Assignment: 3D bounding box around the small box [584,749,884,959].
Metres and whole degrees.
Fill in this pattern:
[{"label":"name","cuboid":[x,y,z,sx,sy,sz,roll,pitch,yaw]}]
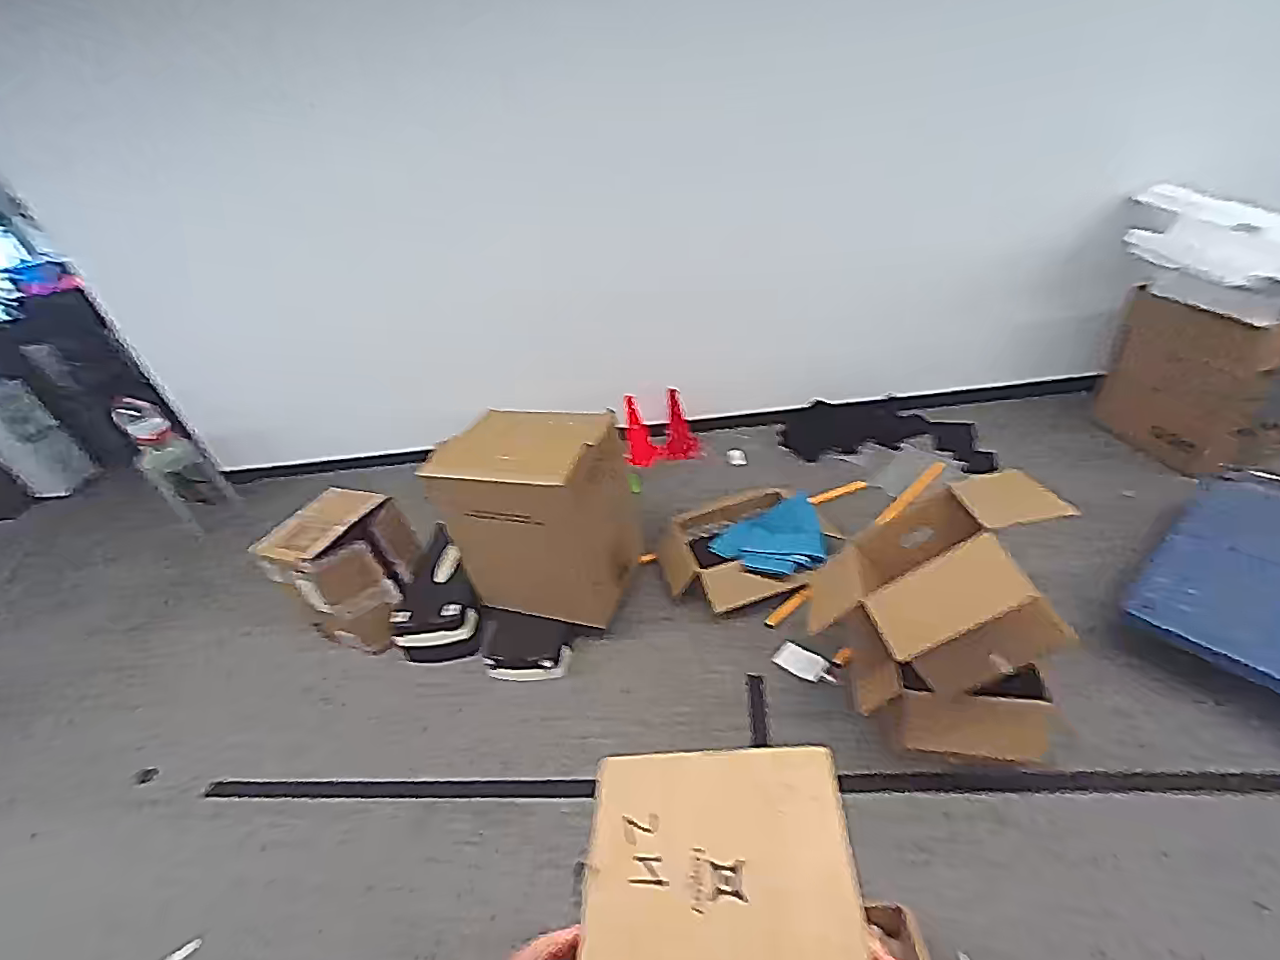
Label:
[{"label":"small box","cuboid":[0.072,0.318,0.390,0.179,0.176,0.168,-9,34,13]}]
